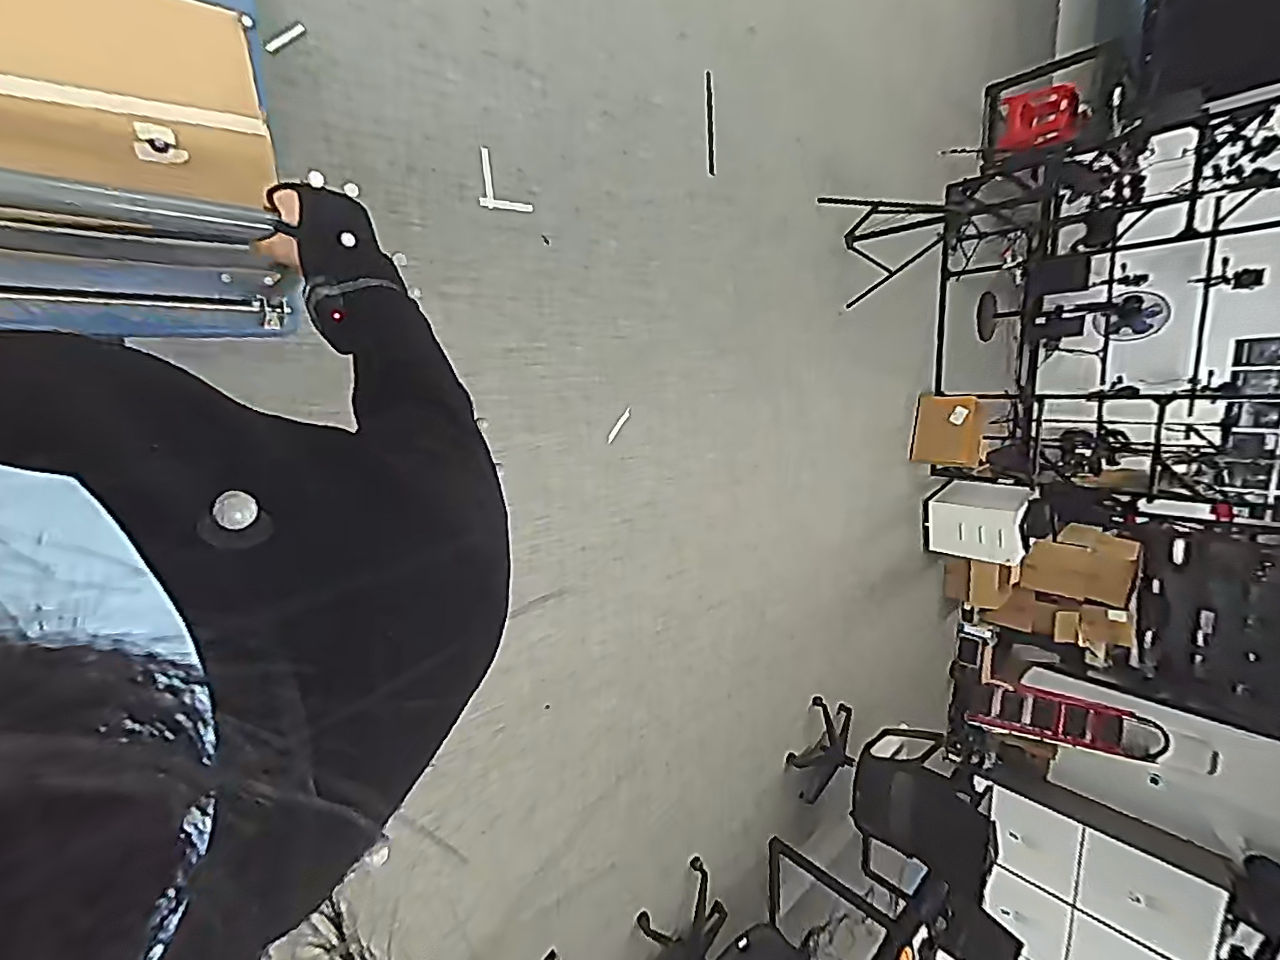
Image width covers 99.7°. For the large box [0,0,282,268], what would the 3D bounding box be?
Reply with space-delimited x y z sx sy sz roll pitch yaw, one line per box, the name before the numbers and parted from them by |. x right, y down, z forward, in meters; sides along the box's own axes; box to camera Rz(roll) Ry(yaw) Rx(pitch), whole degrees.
large box | -0.835 -0.510 0.810 0.408 0.320 0.320 -17 108 -42
